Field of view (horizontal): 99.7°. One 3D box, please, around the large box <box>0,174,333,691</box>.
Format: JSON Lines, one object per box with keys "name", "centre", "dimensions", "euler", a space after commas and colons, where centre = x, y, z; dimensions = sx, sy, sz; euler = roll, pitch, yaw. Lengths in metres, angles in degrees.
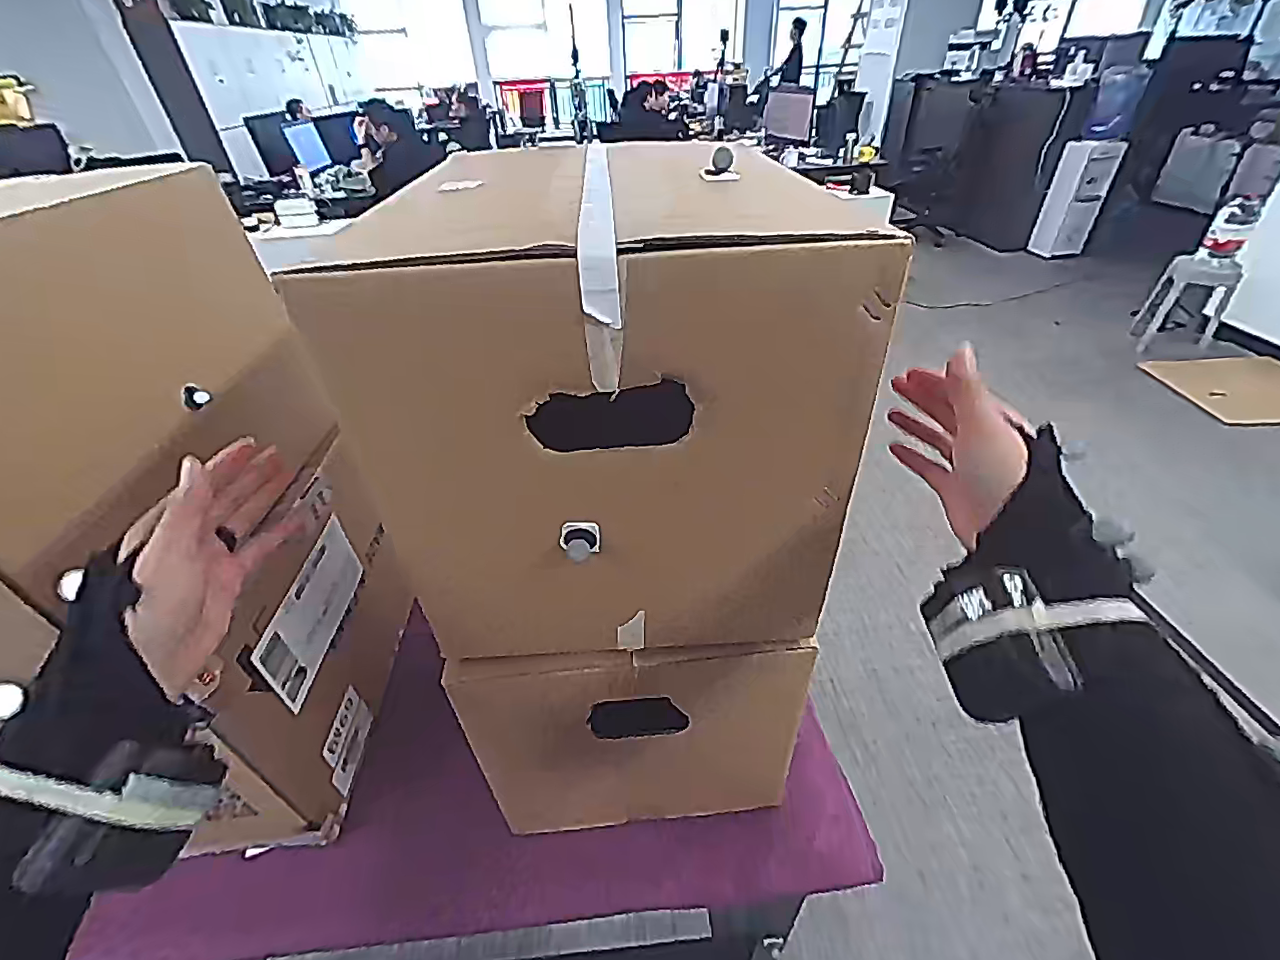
{"name": "large box", "centre": [-0.567, -0.064, 0.504], "dimensions": [0.320, 0.320, 0.408], "euler": [-7, 38, 1]}
